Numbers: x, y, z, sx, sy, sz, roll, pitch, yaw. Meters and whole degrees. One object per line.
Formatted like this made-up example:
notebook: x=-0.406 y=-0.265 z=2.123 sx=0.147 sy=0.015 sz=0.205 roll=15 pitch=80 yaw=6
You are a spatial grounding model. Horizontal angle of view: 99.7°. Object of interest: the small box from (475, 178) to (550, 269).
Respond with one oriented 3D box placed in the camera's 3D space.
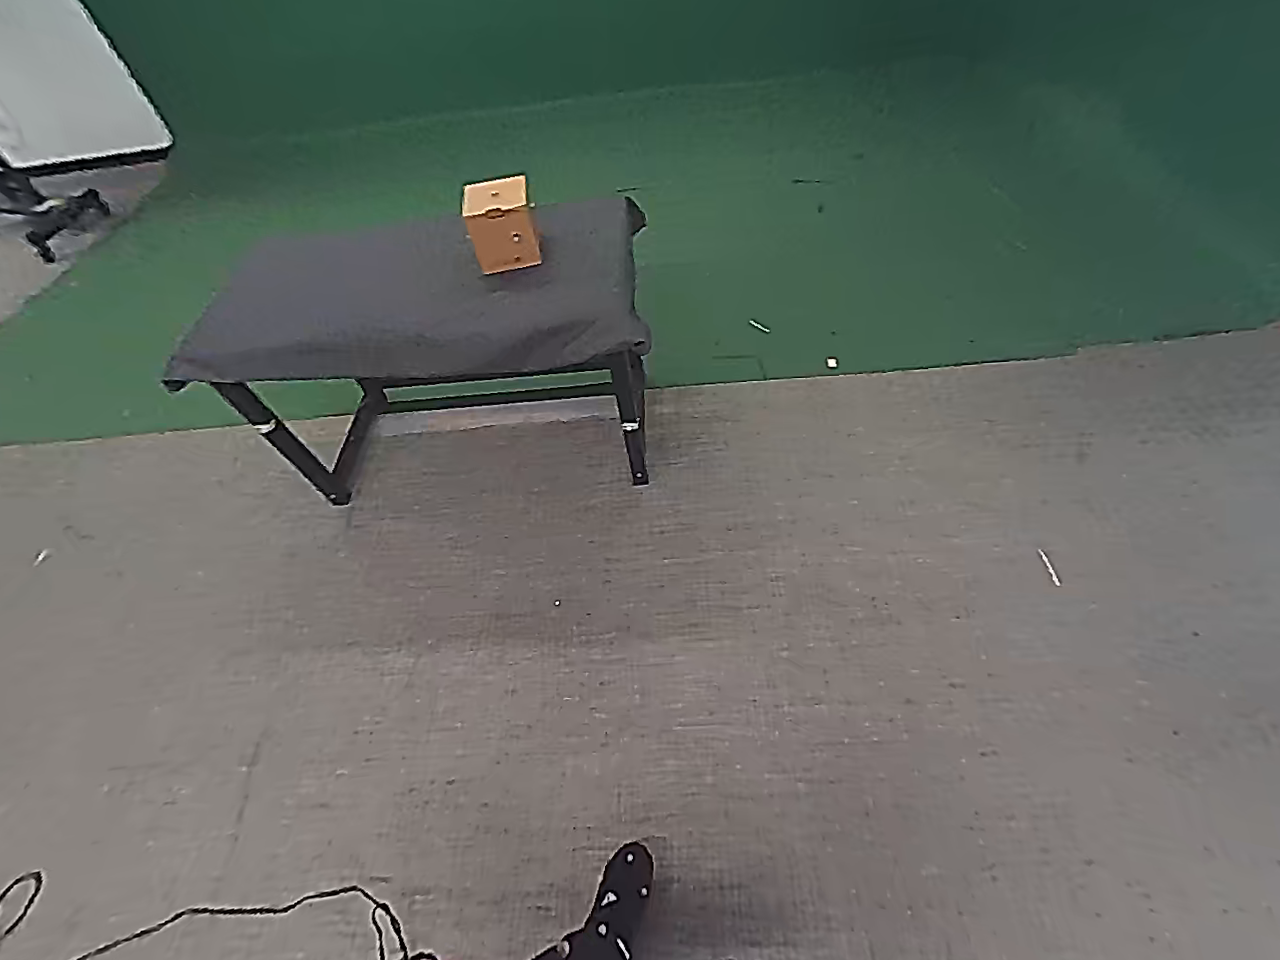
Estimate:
small box: x=-0.349 y=-0.703 z=1.500 sx=0.168 sy=0.176 sz=0.179 roll=-9 pitch=52 yaw=-2
